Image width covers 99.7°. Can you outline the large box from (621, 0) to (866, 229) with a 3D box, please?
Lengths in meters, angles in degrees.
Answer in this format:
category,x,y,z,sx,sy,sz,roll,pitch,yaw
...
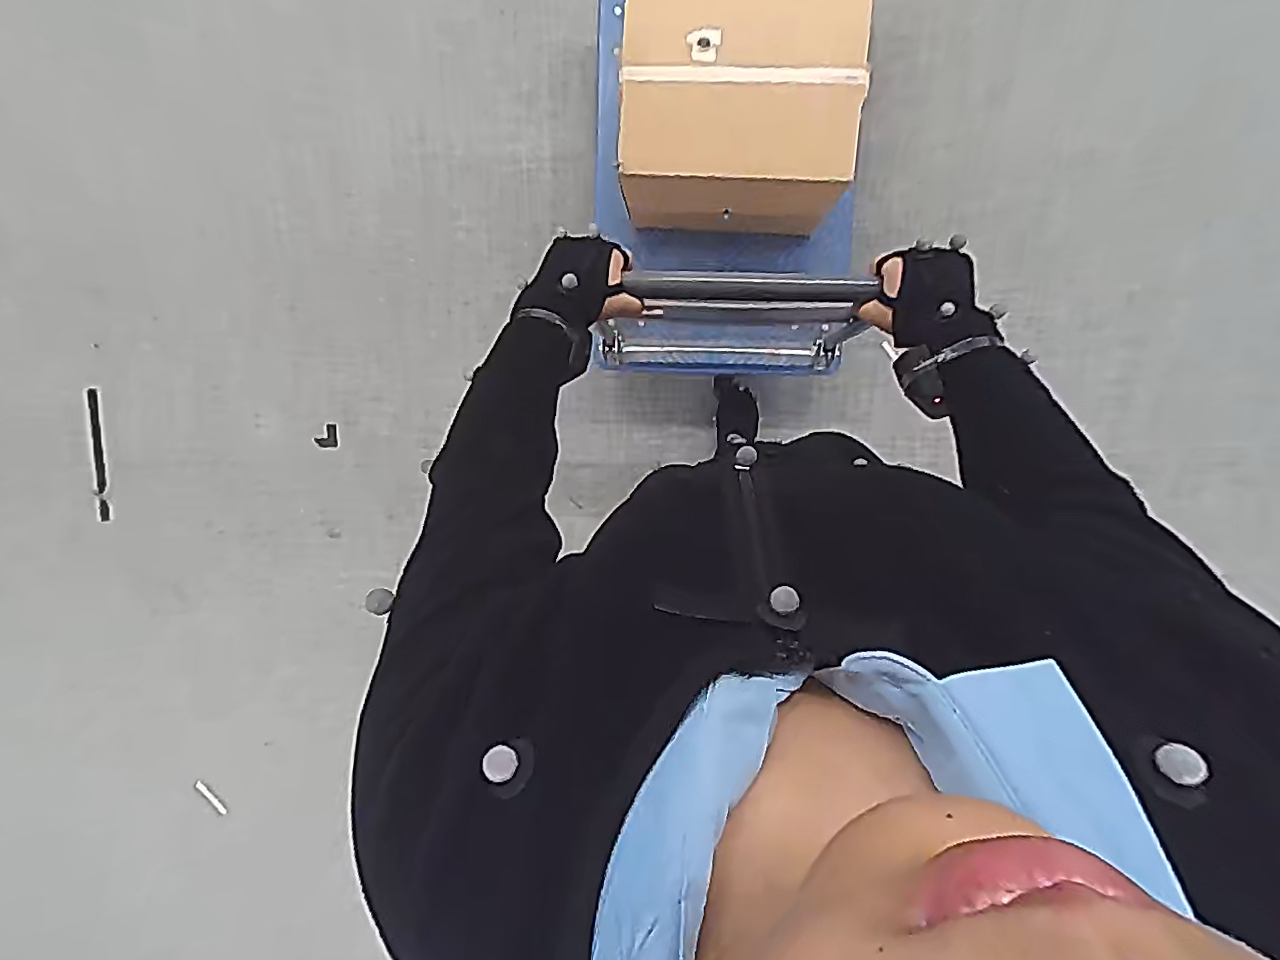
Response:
category,x,y,z,sx,sy,sz,roll,pitch,yaw
large box,0.184,-0.702,1.065,0.408,0.320,0.320,4,98,5
